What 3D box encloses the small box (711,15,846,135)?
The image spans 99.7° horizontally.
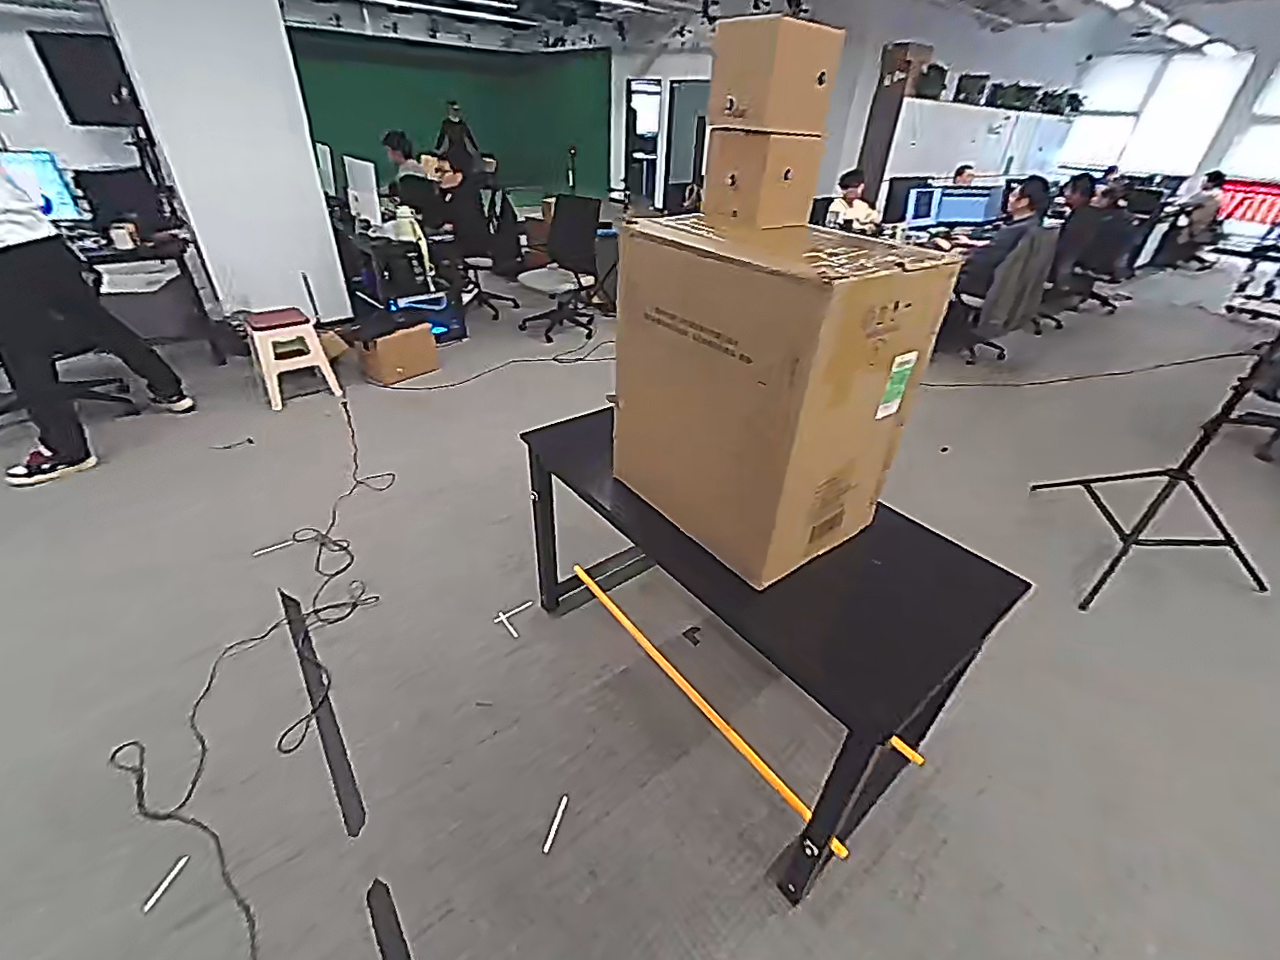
[{"bbox_3d":[0.255,-0.760,1.032,0.179,0.176,0.168,-20,40,-31],"label":"small box"}]

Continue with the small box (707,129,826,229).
[{"bbox_3d":[0.256,-0.631,1.134,0.179,0.176,0.168,-22,42,-32],"label":"small box"}]
